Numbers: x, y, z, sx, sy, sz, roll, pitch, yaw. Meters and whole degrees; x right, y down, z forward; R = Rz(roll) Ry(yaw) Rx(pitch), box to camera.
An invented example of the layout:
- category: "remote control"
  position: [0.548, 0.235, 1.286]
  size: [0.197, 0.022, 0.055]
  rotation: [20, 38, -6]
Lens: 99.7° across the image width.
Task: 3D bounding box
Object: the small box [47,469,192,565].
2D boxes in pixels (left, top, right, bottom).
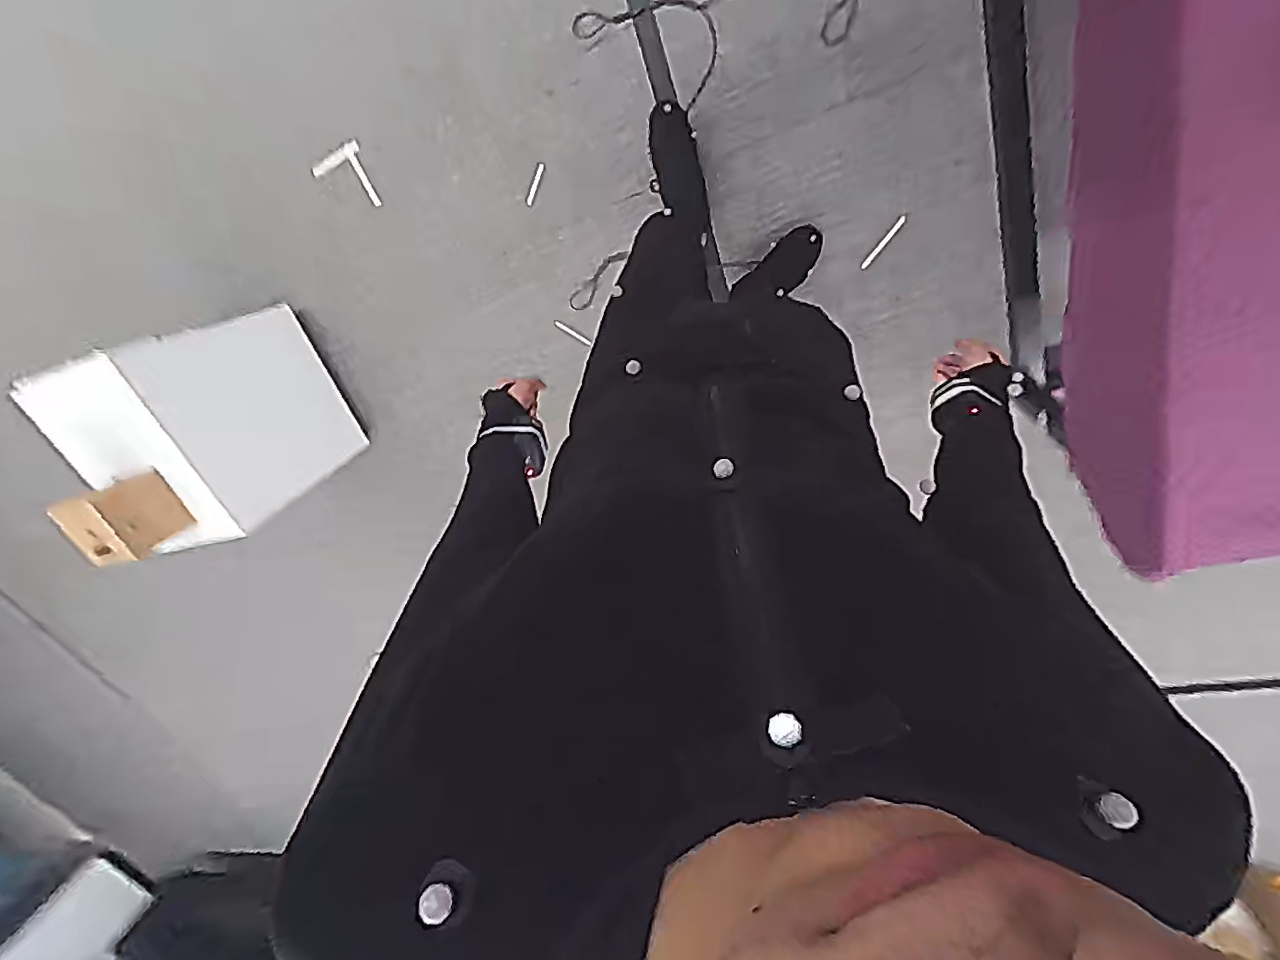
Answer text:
- category: "small box"
  position: [-1.318, 0.094, 1.384]
  size: [0.168, 0.176, 0.179]
  rotation: [-9, 116, 17]
